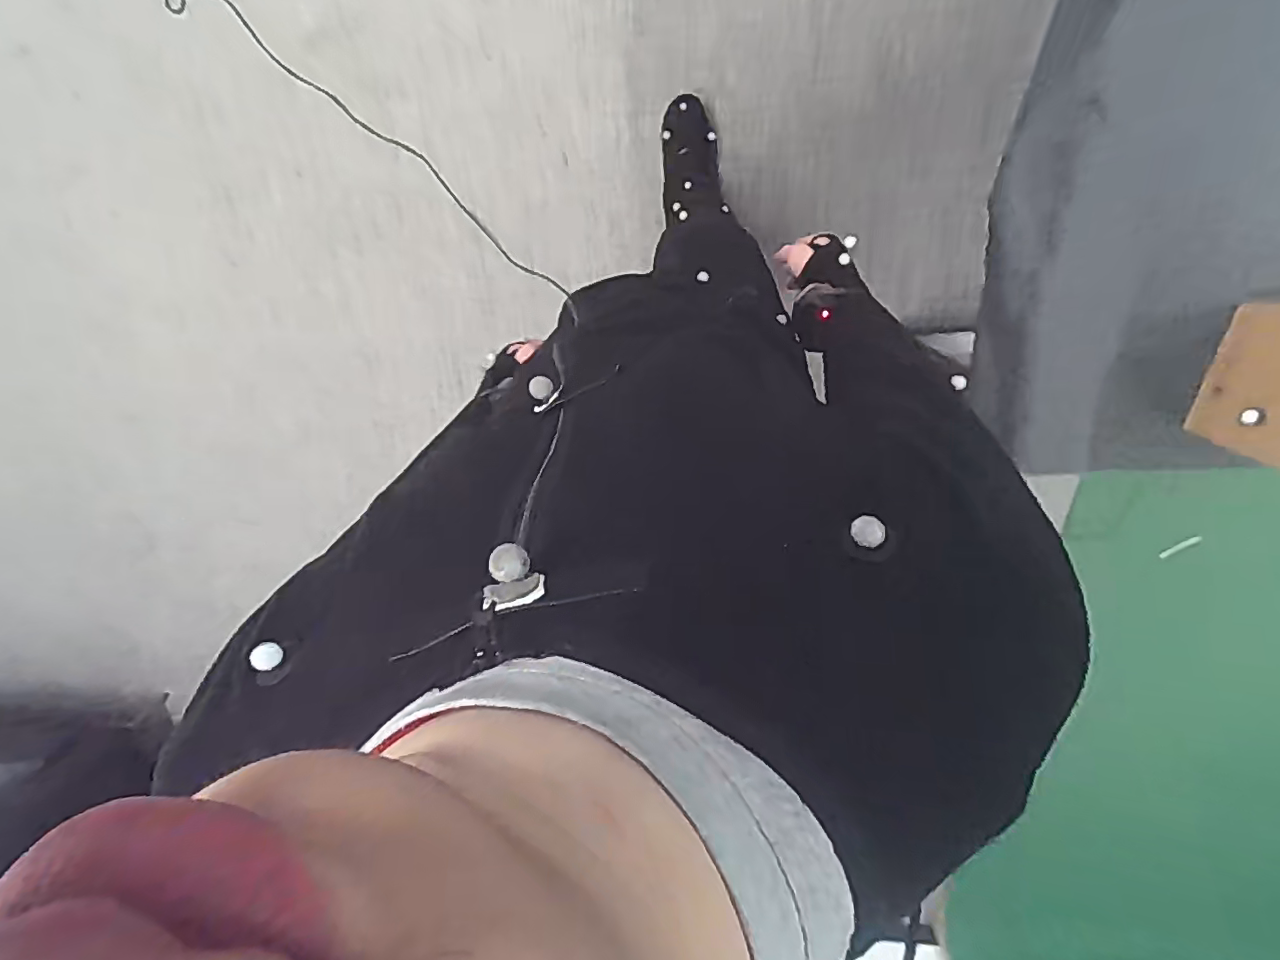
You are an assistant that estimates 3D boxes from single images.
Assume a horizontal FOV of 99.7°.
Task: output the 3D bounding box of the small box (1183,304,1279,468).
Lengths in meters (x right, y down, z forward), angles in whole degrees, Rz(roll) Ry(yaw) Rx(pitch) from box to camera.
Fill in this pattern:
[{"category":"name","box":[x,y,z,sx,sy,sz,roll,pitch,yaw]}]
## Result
[{"category":"small box","box":[0.804,-0.104,0.620,0.179,0.176,0.168,2,117,4]}]
